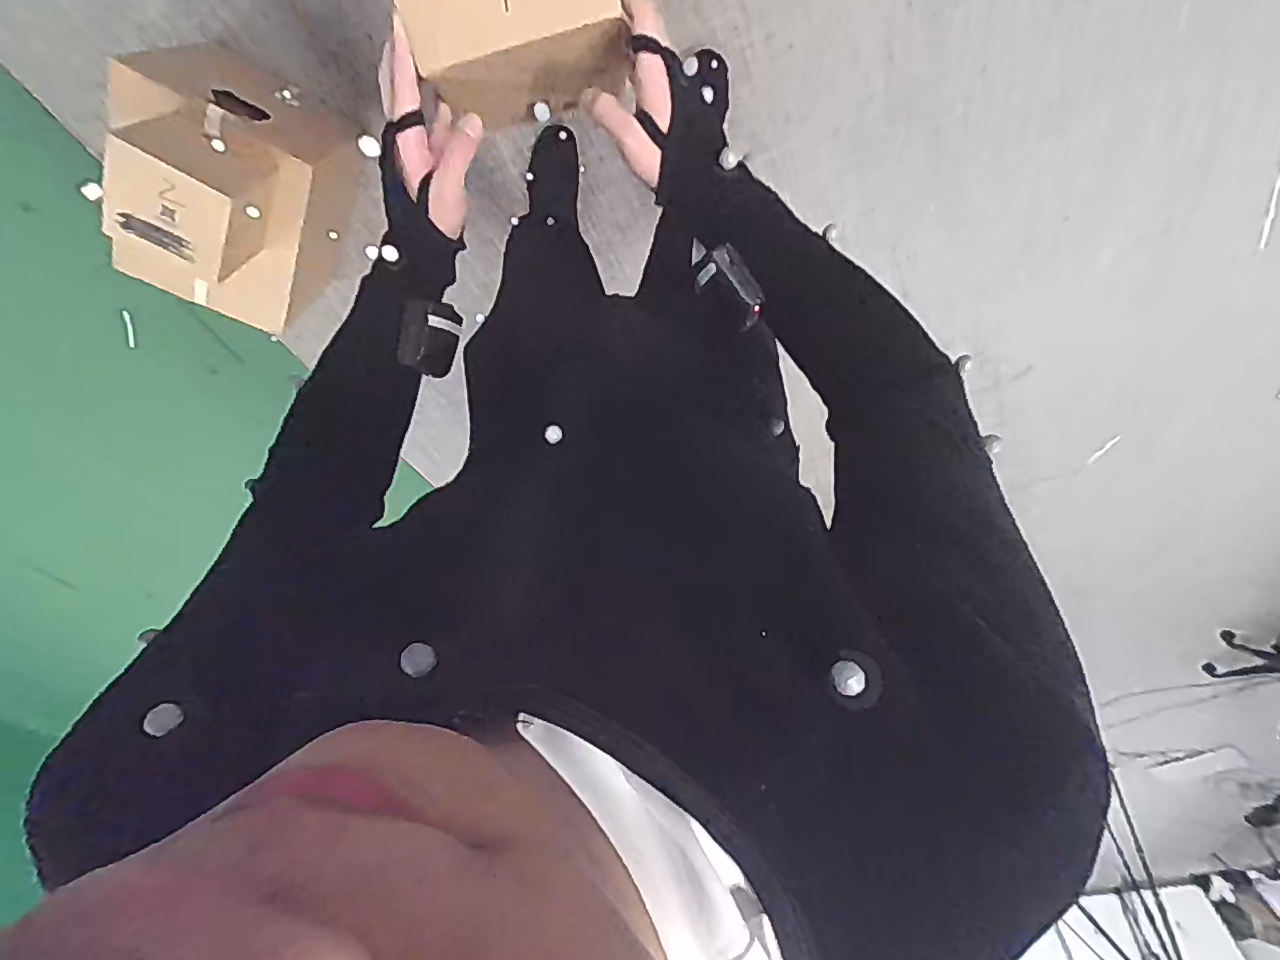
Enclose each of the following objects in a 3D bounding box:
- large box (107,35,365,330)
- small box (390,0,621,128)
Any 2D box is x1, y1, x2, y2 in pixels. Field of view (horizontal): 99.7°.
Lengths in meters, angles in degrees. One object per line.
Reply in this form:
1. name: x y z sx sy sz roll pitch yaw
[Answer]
1. large box: -0.825 -0.614 1.143 0.320 0.320 0.408 23 129 -21
2. small box: -0.115 -0.434 0.455 0.168 0.176 0.179 -13 109 4
